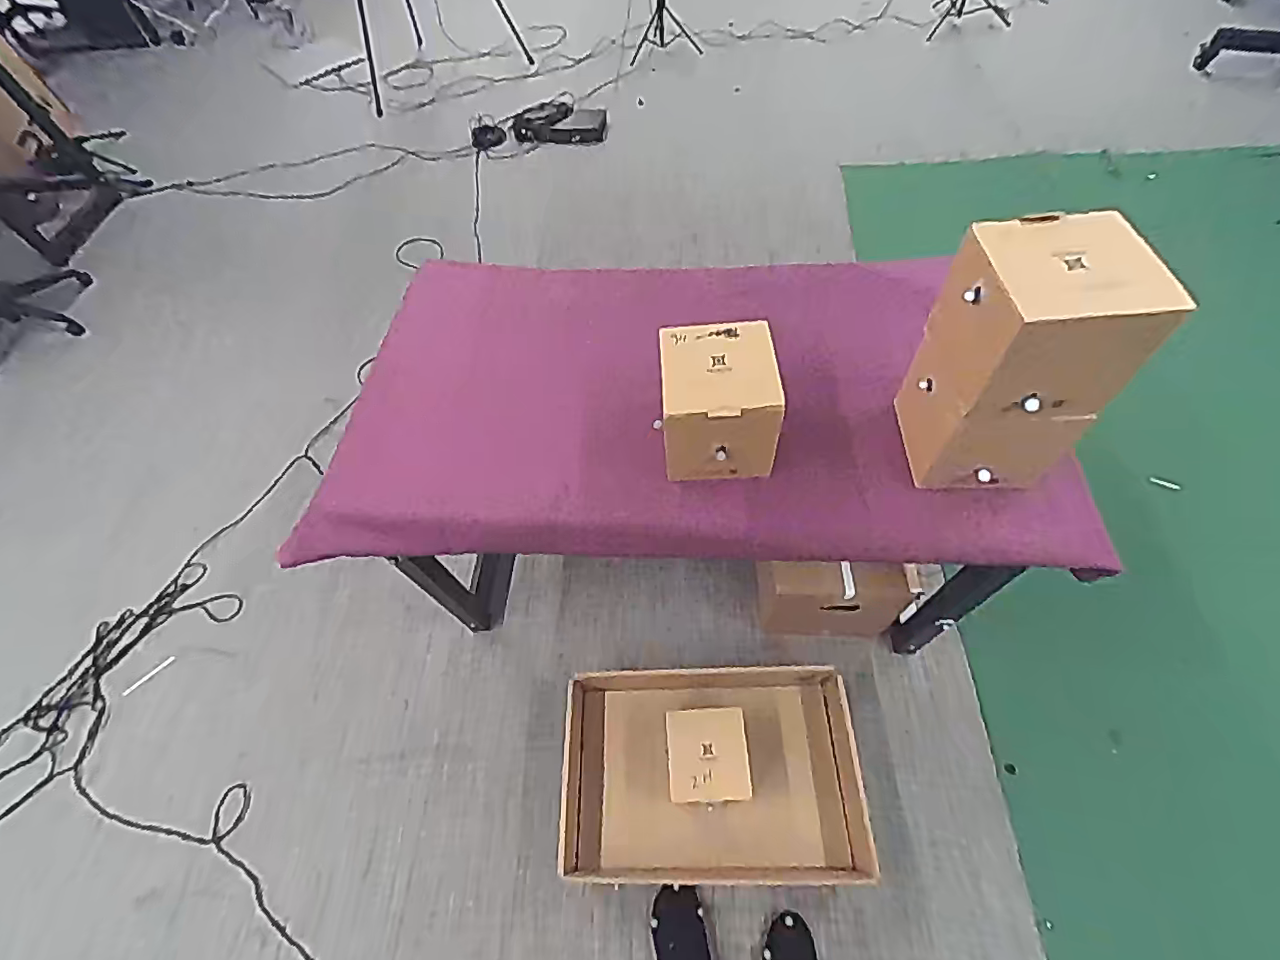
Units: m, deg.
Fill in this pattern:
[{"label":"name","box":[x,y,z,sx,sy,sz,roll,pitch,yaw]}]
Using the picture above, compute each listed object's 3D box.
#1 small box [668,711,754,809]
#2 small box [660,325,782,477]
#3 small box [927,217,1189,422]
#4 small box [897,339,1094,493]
[{"label":"small box","box":[0.148,0.613,1.179,0.168,0.176,0.179,-4,58,4]},{"label":"small box","box":[0.120,-0.114,0.842,0.168,0.176,0.179,-3,57,4]},{"label":"small box","box":[0.478,-0.191,0.660,0.168,0.176,0.179,-3,56,6]},{"label":"small box","box":[0.498,-0.100,0.794,0.168,0.176,0.179,0,57,7]}]
